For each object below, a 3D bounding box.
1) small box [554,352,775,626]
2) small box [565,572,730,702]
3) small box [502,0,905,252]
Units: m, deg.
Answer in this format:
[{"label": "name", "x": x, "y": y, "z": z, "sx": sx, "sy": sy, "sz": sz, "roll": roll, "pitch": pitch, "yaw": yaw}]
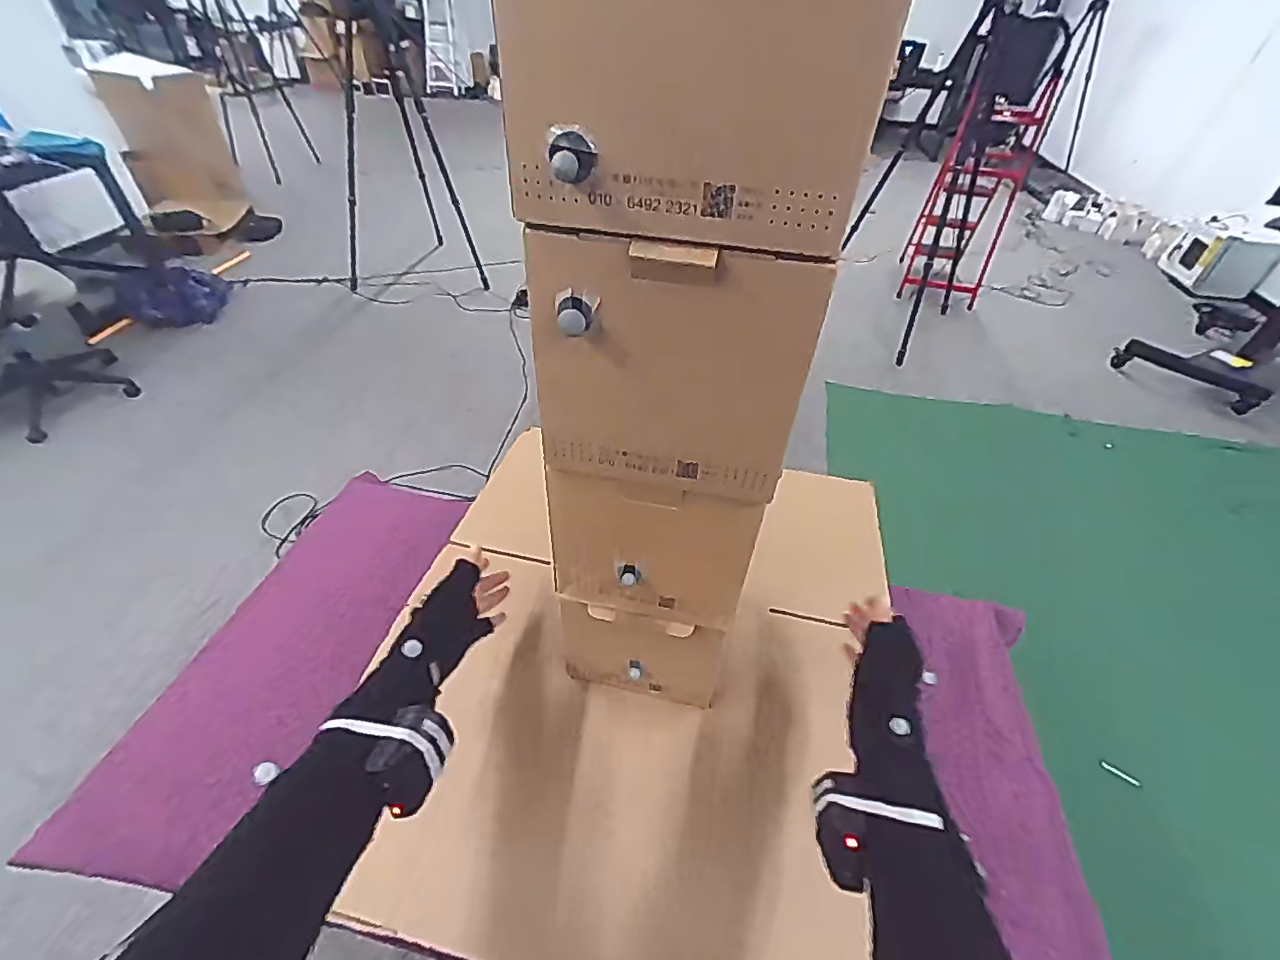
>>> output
[{"label": "small box", "x": 0.026, "y": 0.006, "z": 0.507, "sx": 0.168, "sy": 0.176, "sz": 0.179, "roll": 9, "pitch": 43, "yaw": 7}, {"label": "small box", "x": 0.020, "y": 0.121, "z": 0.622, "sx": 0.168, "sy": 0.176, "sz": 0.179, "roll": 10, "pitch": 43, "yaw": 9}, {"label": "small box", "x": 0.037, "y": -0.233, "z": 0.279, "sx": 0.168, "sy": 0.176, "sz": 0.179, "roll": 10, "pitch": 42, "yaw": 7}]
